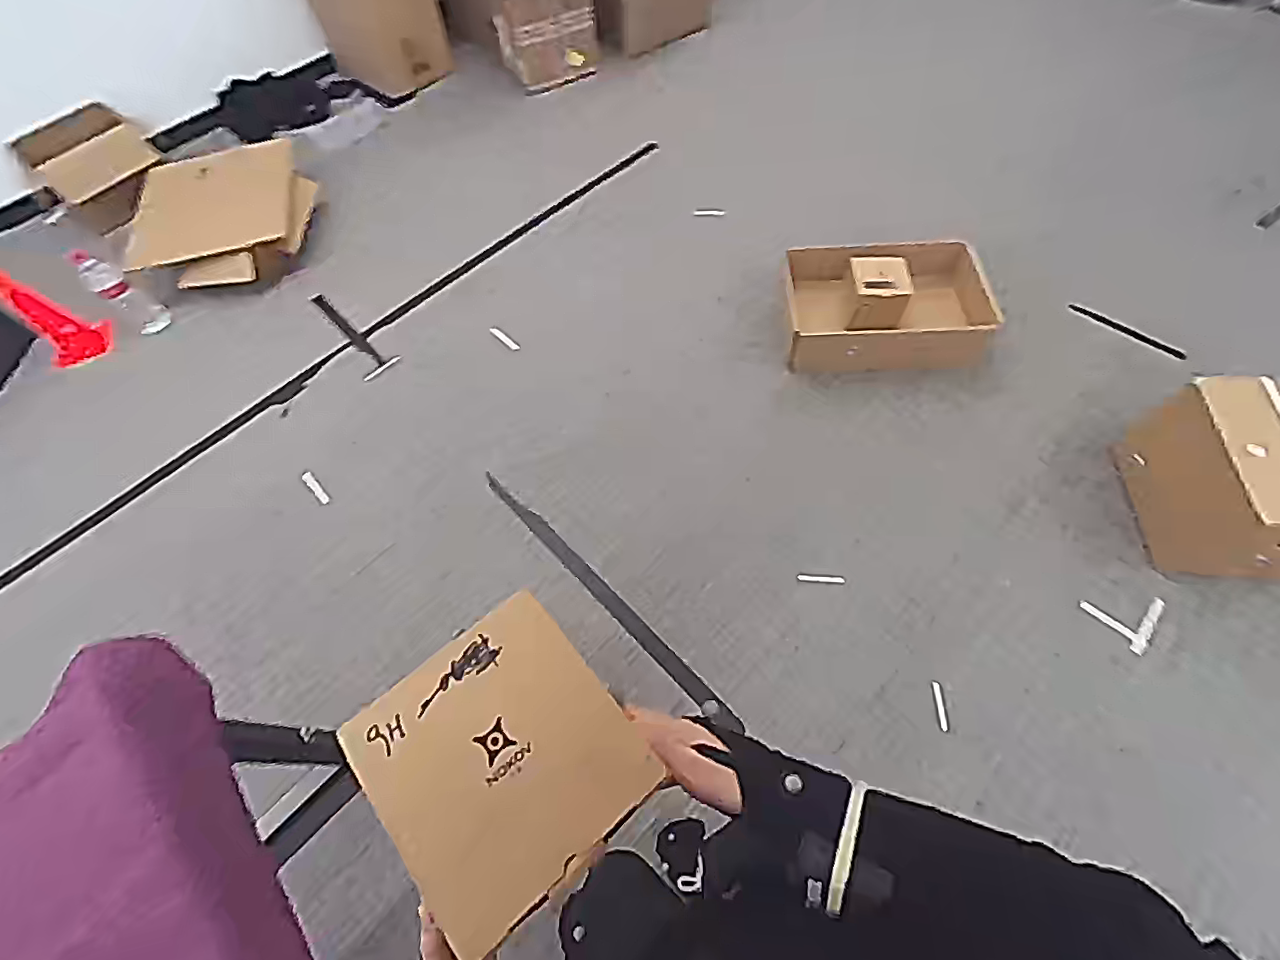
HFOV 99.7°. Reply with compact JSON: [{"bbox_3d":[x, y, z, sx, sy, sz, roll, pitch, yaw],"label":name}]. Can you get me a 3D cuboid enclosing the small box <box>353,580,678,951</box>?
[{"bbox_3d":[-0.090,0.216,0.449,0.168,0.176,0.179,-35,70,-18],"label":"small box"}]
